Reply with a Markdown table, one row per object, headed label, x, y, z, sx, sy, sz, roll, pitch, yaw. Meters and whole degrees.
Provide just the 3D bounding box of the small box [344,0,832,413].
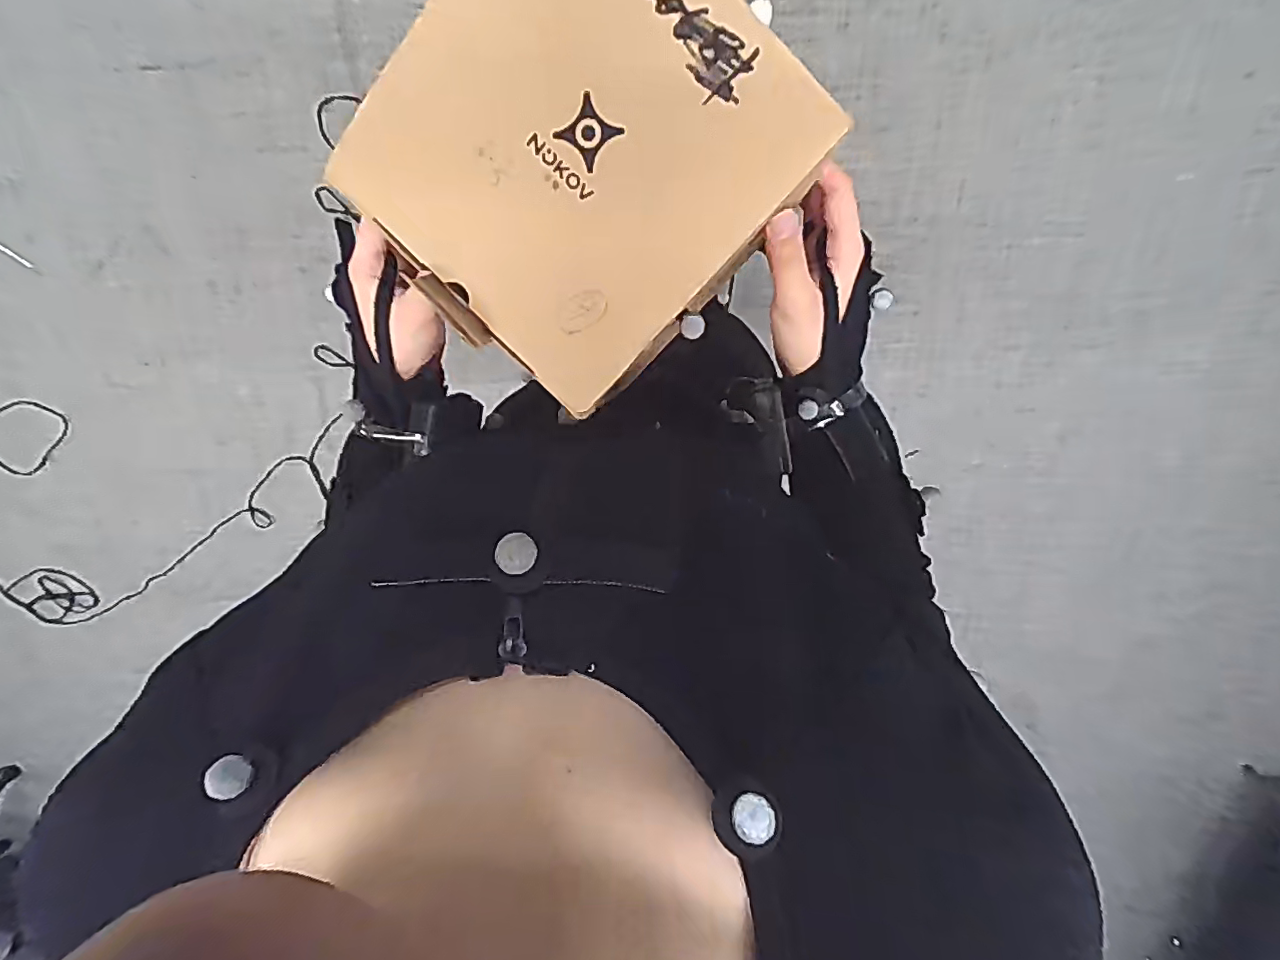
| label | x | y | z | sx | sy | sz | roll | pitch | yaw |
| --- | --- | --- | --- | --- | --- | --- | --- | --- | --- |
| small box | -0.021 | -0.165 | 0.326 | 0.168 | 0.176 | 0.179 | 44 | 104 | -6 |
